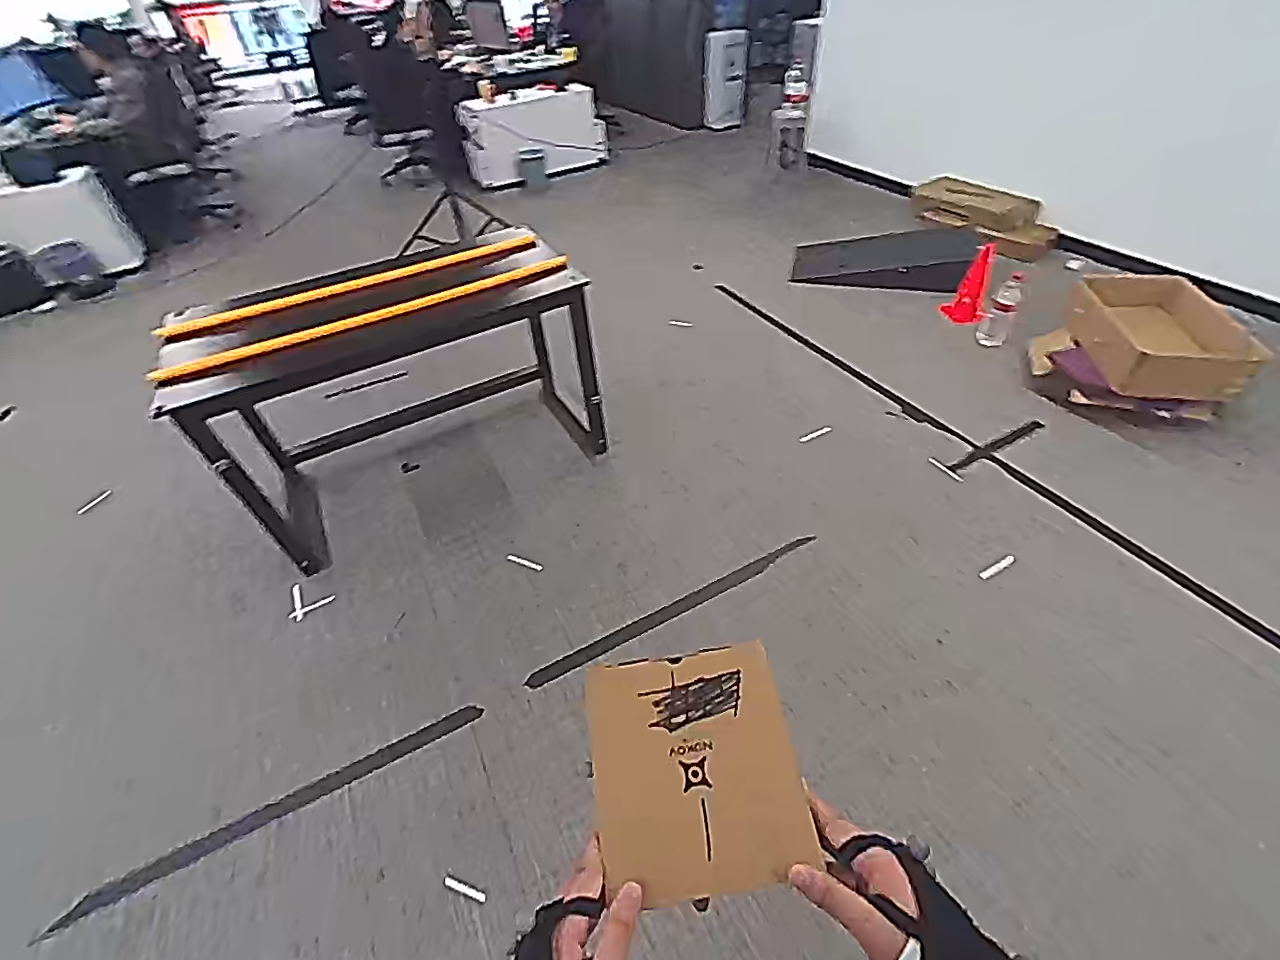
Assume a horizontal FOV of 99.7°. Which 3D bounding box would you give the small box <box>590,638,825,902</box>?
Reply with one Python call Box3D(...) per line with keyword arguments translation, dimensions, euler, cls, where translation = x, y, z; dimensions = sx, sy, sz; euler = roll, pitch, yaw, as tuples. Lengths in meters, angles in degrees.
Box3D(translation=(0.046, 0.272, 0.511), dimensions=(0.168, 0.176, 0.179), euler=(-8, 56, -5), cls="small box")
